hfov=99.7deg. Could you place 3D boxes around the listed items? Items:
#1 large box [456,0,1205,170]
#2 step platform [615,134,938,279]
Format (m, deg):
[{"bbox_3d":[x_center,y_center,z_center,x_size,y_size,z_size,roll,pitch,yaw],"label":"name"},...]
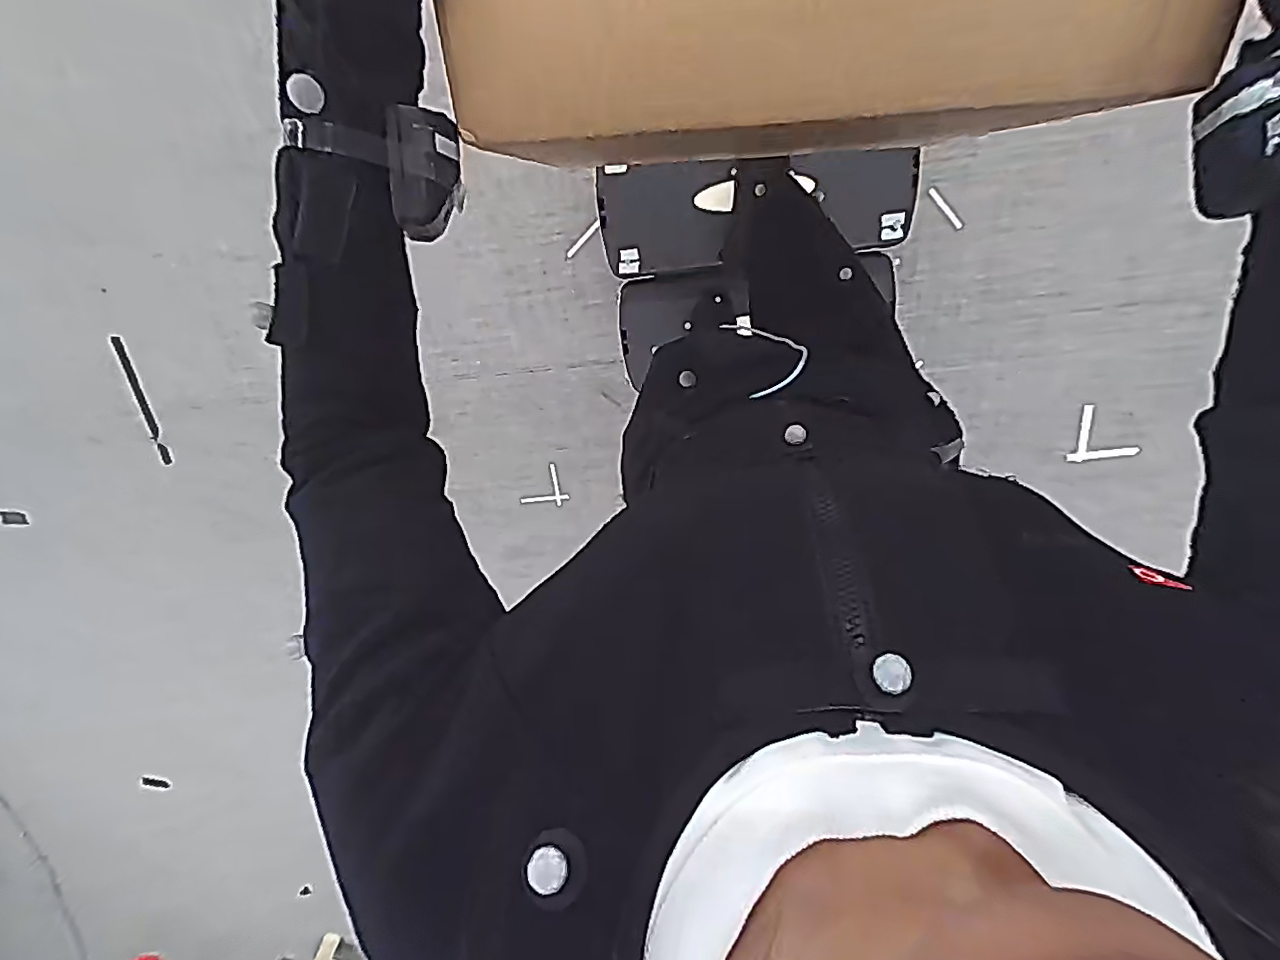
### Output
[{"bbox_3d":[0.092,-0.415,0.373,0.408,0.320,0.320,-3,118,3],"label":"large box"},{"bbox_3d":[0.285,-0.642,1.218,0.684,0.204,0.286,-5,112,7],"label":"step platform"}]
